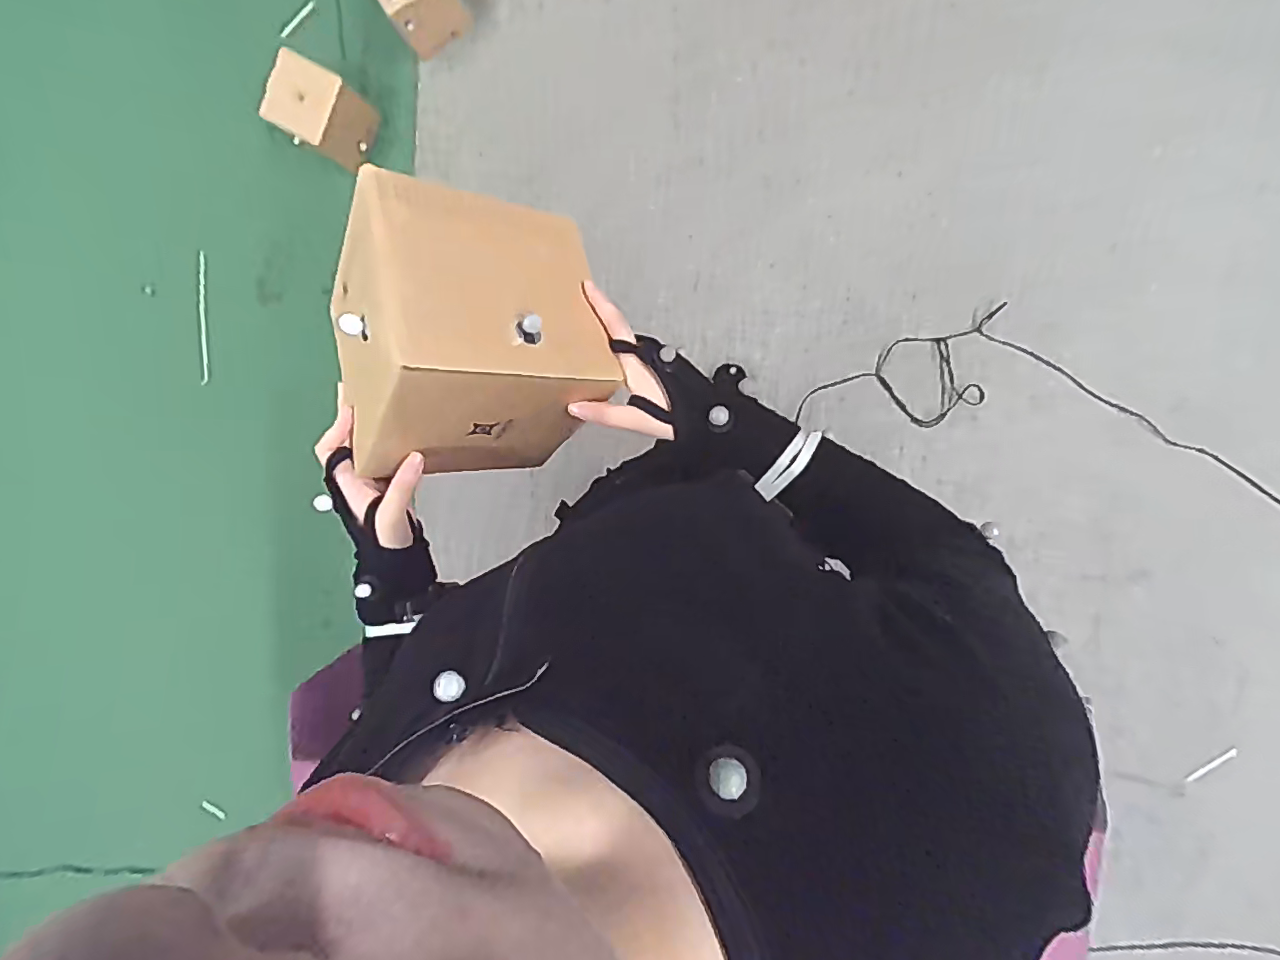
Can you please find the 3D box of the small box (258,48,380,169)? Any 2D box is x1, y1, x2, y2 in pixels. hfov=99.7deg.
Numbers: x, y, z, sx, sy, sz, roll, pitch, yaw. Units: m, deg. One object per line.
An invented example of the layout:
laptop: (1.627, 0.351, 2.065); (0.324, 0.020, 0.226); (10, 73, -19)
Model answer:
small box: (-0.811, -0.935, 1.380); (0.179, 0.176, 0.168); (29, 99, 2)

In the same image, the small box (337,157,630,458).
small box: (-0.142, -0.130, 0.459); (0.168, 0.179, 0.176); (-34, 67, 46)
